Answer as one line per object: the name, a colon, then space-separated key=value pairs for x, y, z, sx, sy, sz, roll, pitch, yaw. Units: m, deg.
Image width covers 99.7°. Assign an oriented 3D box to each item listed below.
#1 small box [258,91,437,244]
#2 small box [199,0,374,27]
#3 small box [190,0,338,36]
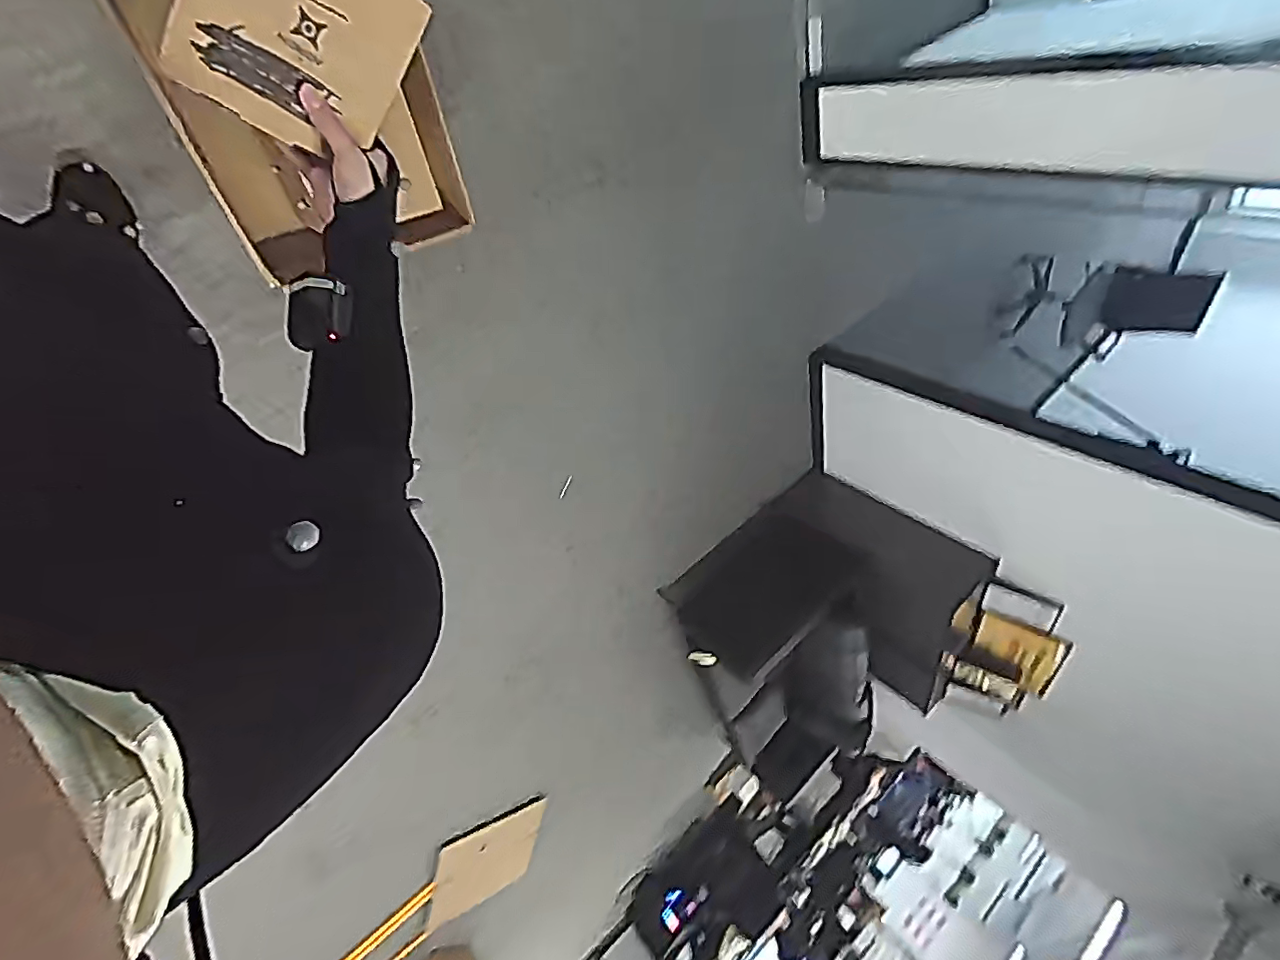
small box: x=-0.446 y=-0.477 z=0.823 sx=0.179 sy=0.176 sz=0.168 roll=-32 pitch=135 yaw=-25
small box: x=-0.471 y=-0.680 z=0.667 sx=0.179 sy=0.176 sz=0.168 roll=-32 pitch=135 yaw=-25
small box: x=-0.572 y=-0.759 z=0.769 sx=0.168 sy=0.176 sz=0.179 roll=-31 pitch=135 yaw=-25
